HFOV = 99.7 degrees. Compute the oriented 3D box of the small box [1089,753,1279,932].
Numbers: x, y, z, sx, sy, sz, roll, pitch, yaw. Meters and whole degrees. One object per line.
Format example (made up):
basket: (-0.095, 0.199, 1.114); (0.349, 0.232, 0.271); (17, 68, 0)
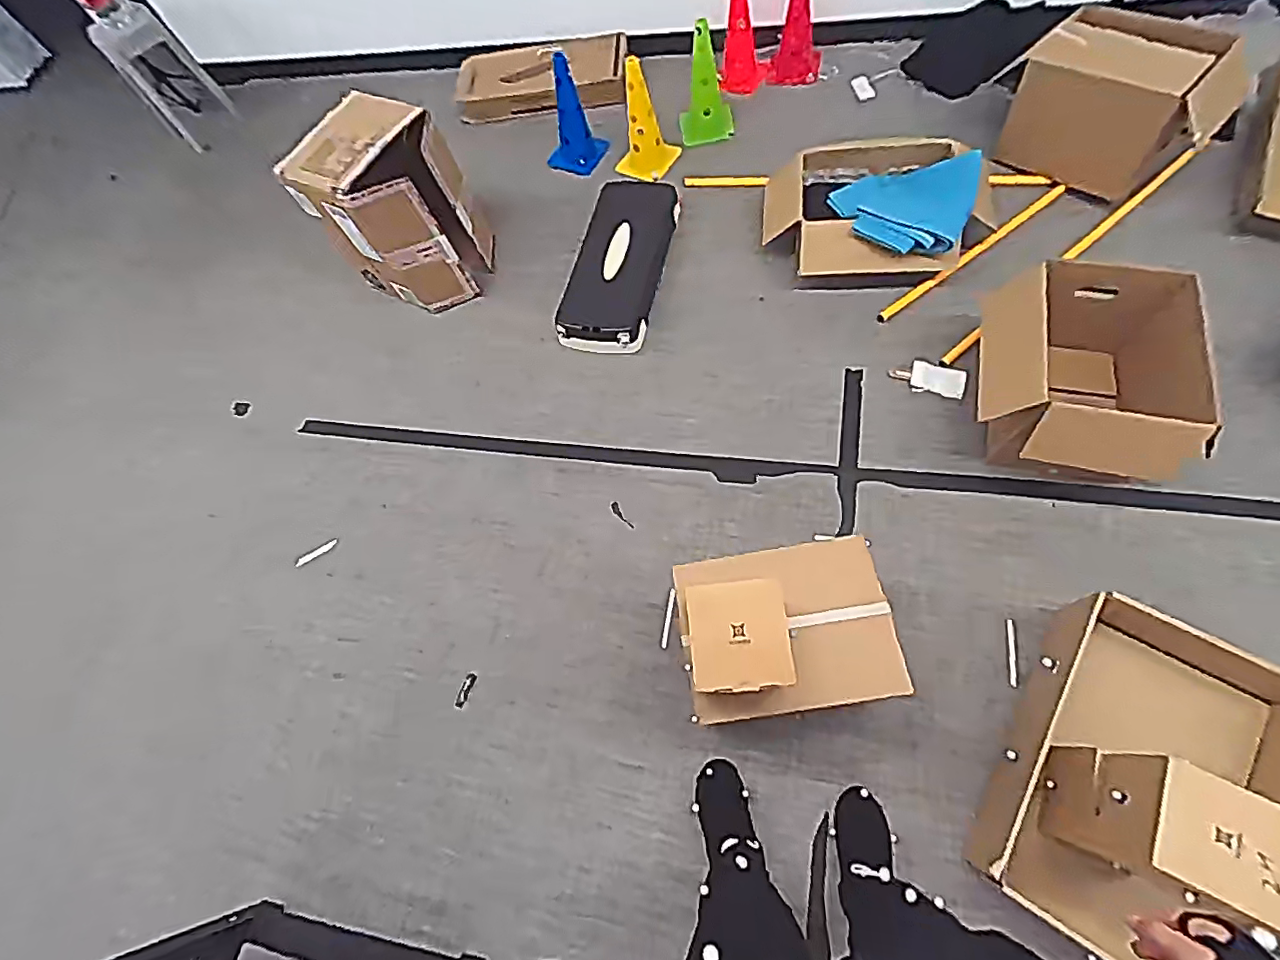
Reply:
small box: (0.861, 0.555, 0.850); (0.179, 0.176, 0.168); (24, 71, 17)
